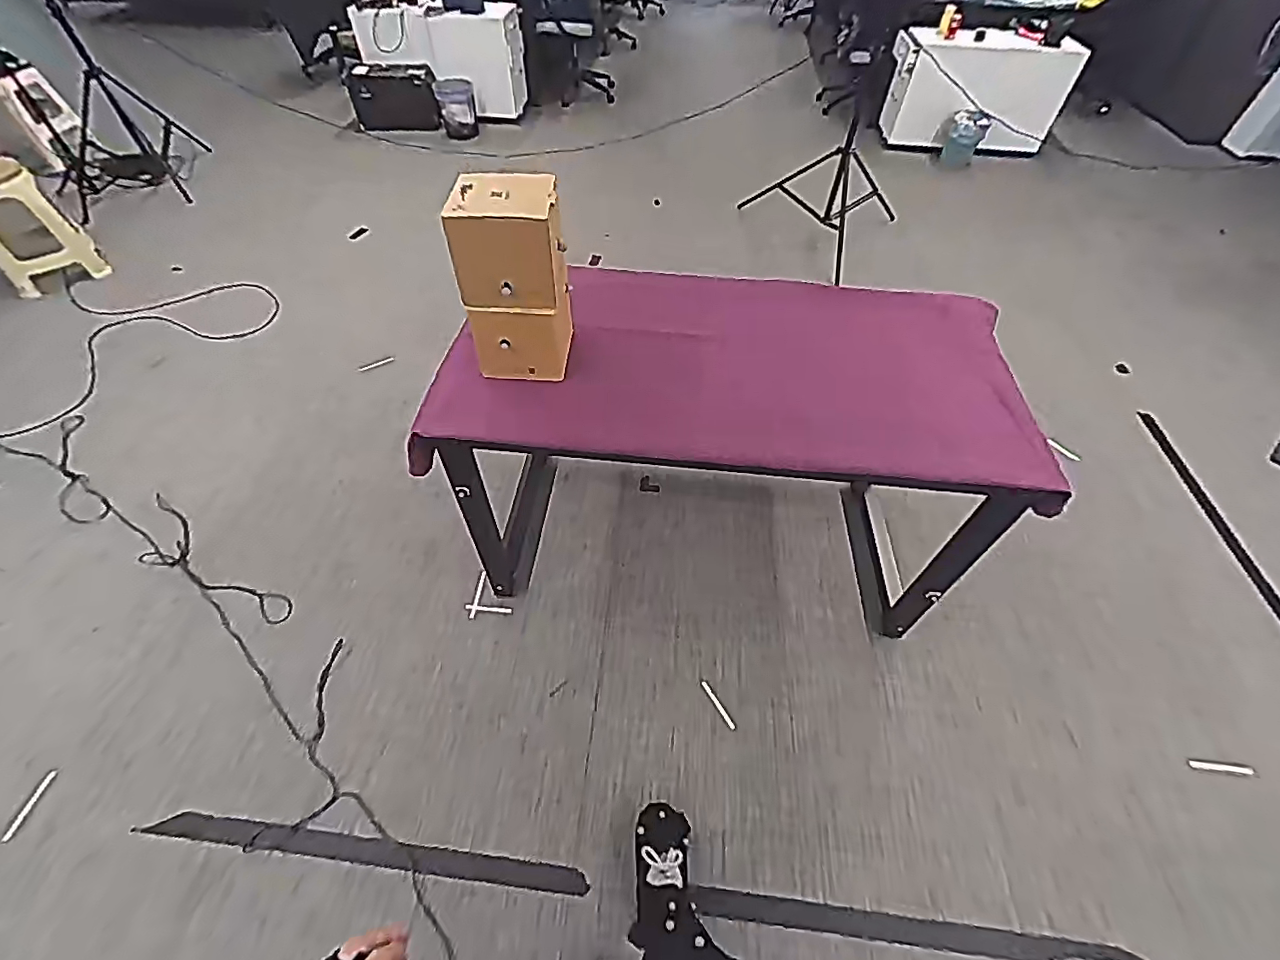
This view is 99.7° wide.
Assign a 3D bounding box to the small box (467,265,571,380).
[{"bbox_3d":[-0.236,-0.321,1.104,0.168,0.176,0.179,2,51,0],"label":"small box"}]

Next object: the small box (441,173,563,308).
[{"bbox_3d":[-0.236,-0.429,0.981,0.179,0.176,0.168,1,51,-2],"label":"small box"}]
